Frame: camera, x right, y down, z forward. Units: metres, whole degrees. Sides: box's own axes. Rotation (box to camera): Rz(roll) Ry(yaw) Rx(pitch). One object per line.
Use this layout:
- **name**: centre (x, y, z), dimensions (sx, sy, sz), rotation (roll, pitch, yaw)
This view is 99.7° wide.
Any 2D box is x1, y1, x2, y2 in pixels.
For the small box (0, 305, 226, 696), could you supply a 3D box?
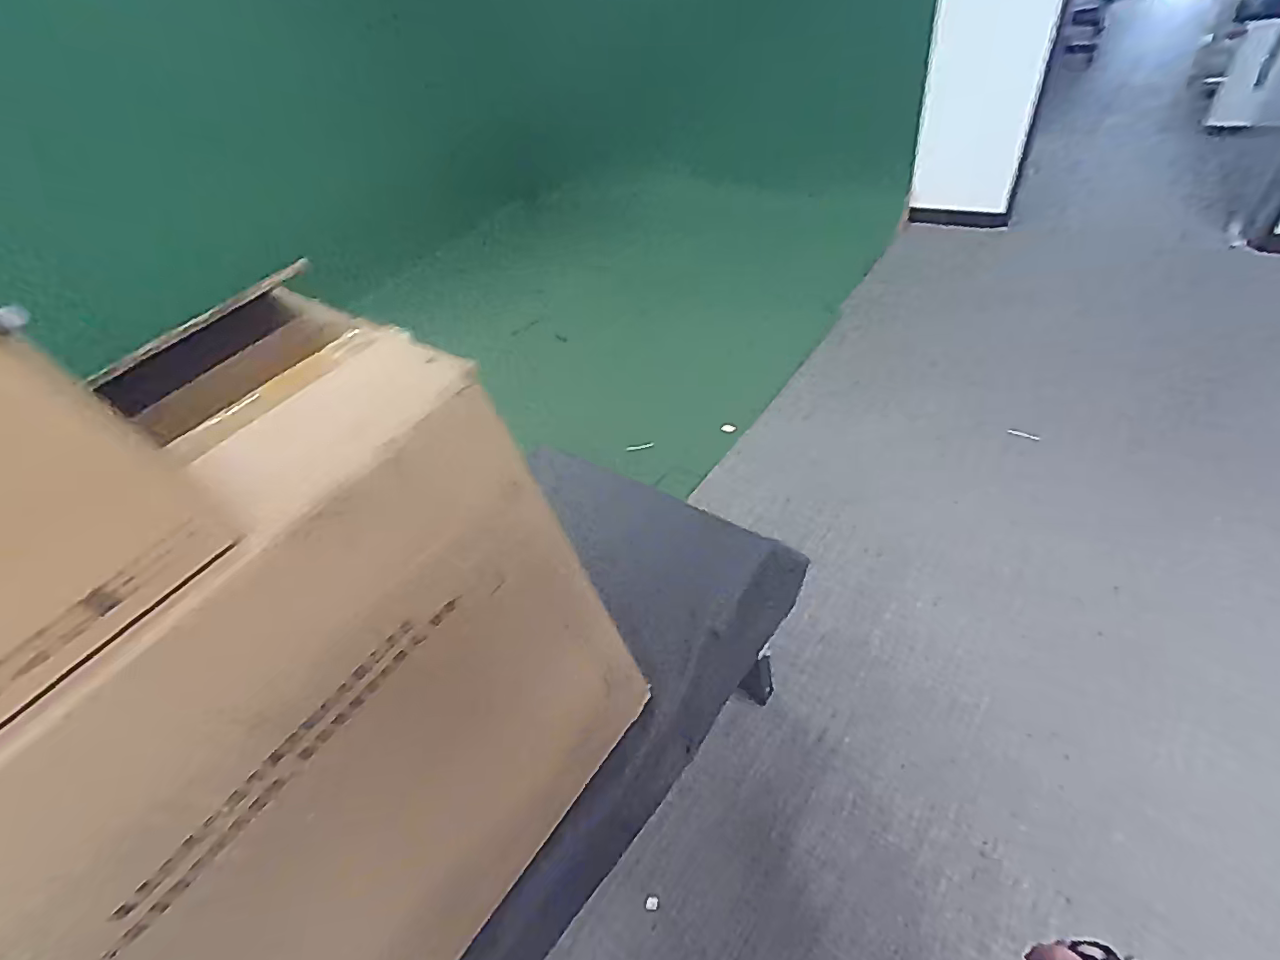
- **small box**: centre (-0.363, 0.001, 0.271), dimensions (0.179, 0.176, 0.168), rotation (25, 59, 33)
